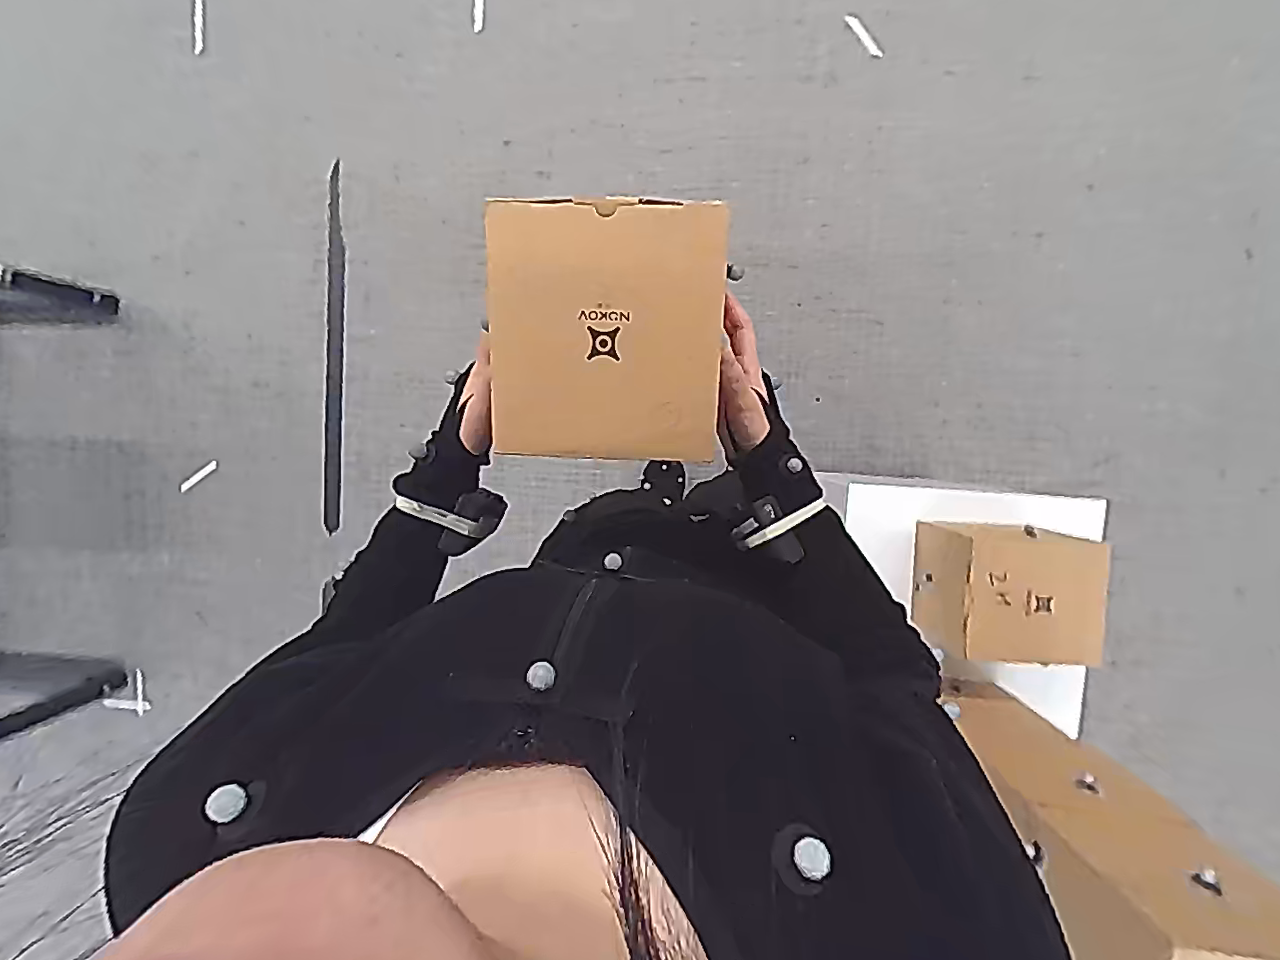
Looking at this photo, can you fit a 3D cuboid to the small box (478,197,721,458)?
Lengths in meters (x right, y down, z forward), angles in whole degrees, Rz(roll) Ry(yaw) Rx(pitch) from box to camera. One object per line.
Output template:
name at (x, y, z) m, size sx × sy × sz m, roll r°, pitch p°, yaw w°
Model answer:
small box at (-0.023, -0.121, 0.453) m, size 0.168 × 0.176 × 0.179 m, roll 1°, pitch 103°, yaw 3°

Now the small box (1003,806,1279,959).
small box at (0.464, 0.425, 0.479) m, size 0.179 × 0.176 × 0.168 m, roll 7°, pitch 93°, yaw 2°

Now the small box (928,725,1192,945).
small box at (0.478, 0.415, 0.643) m, size 0.179 × 0.176 × 0.168 m, roll 6°, pitch 92°, yaw 4°

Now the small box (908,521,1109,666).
small box at (0.520, 0.154, 0.787) m, size 0.179 × 0.176 × 0.168 m, roll 2°, pitch 94°, yaw 4°
